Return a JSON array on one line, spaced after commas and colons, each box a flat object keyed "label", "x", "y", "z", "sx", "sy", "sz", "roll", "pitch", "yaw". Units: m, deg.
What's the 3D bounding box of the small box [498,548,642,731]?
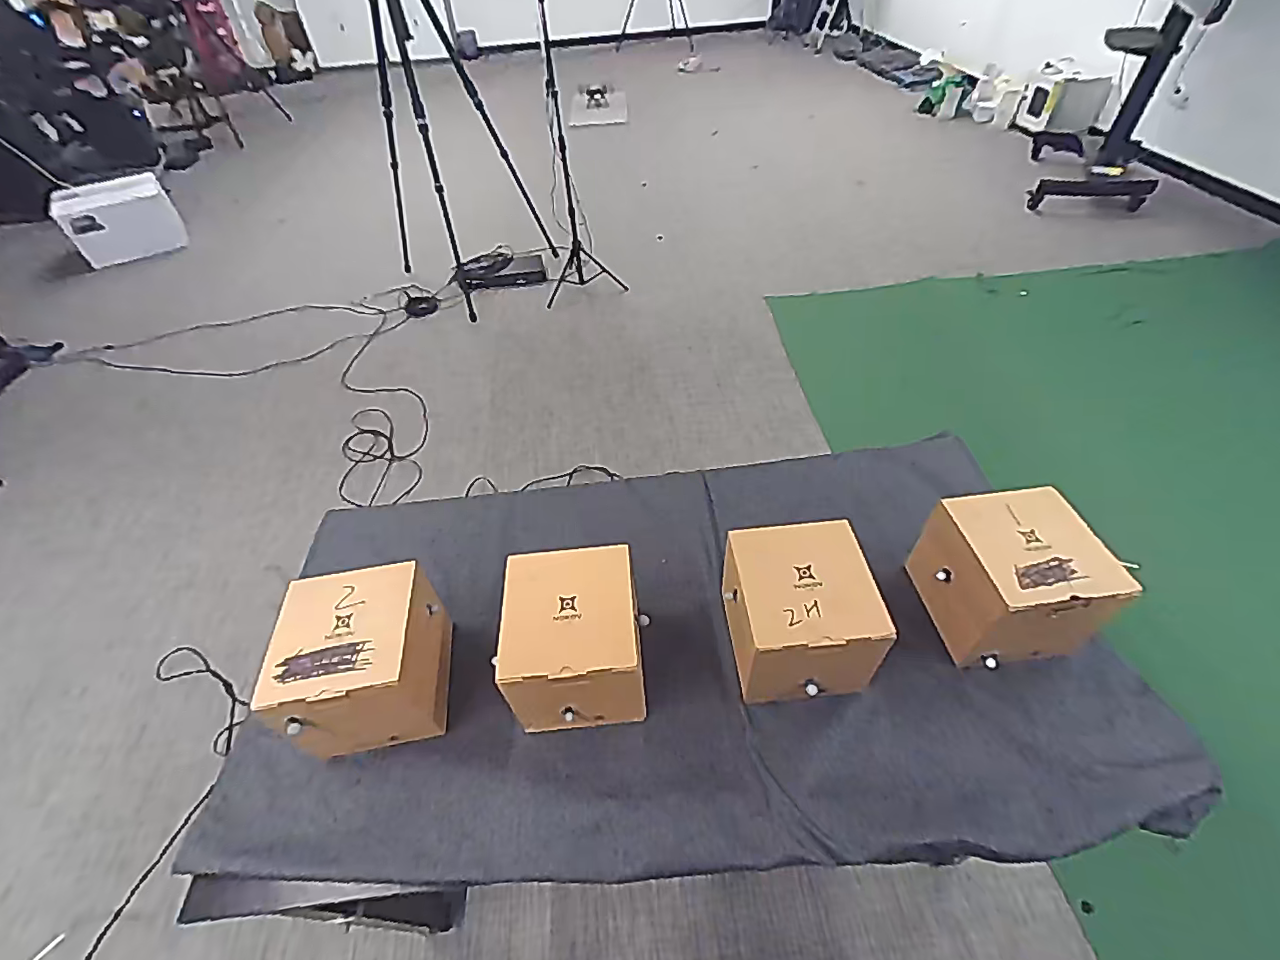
[{"label": "small box", "x": -0.085, "y": 0.215, "z": 0.730, "sx": 0.168, "sy": 0.176, "sz": 0.179, "roll": -5, "pitch": 48, "yaw": -2}]

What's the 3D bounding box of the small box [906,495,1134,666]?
[{"label": "small box", "x": 0.508, "y": 0.146, "z": 0.758, "sx": 0.168, "sy": 0.176, "sz": 0.179, "roll": -6, "pitch": 47, "yaw": -2}]

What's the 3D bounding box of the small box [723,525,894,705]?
[{"label": "small box", "x": 0.212, "y": 0.185, "z": 0.739, "sx": 0.168, "sy": 0.176, "sz": 0.179, "roll": -5, "pitch": 47, "yaw": -1}]
